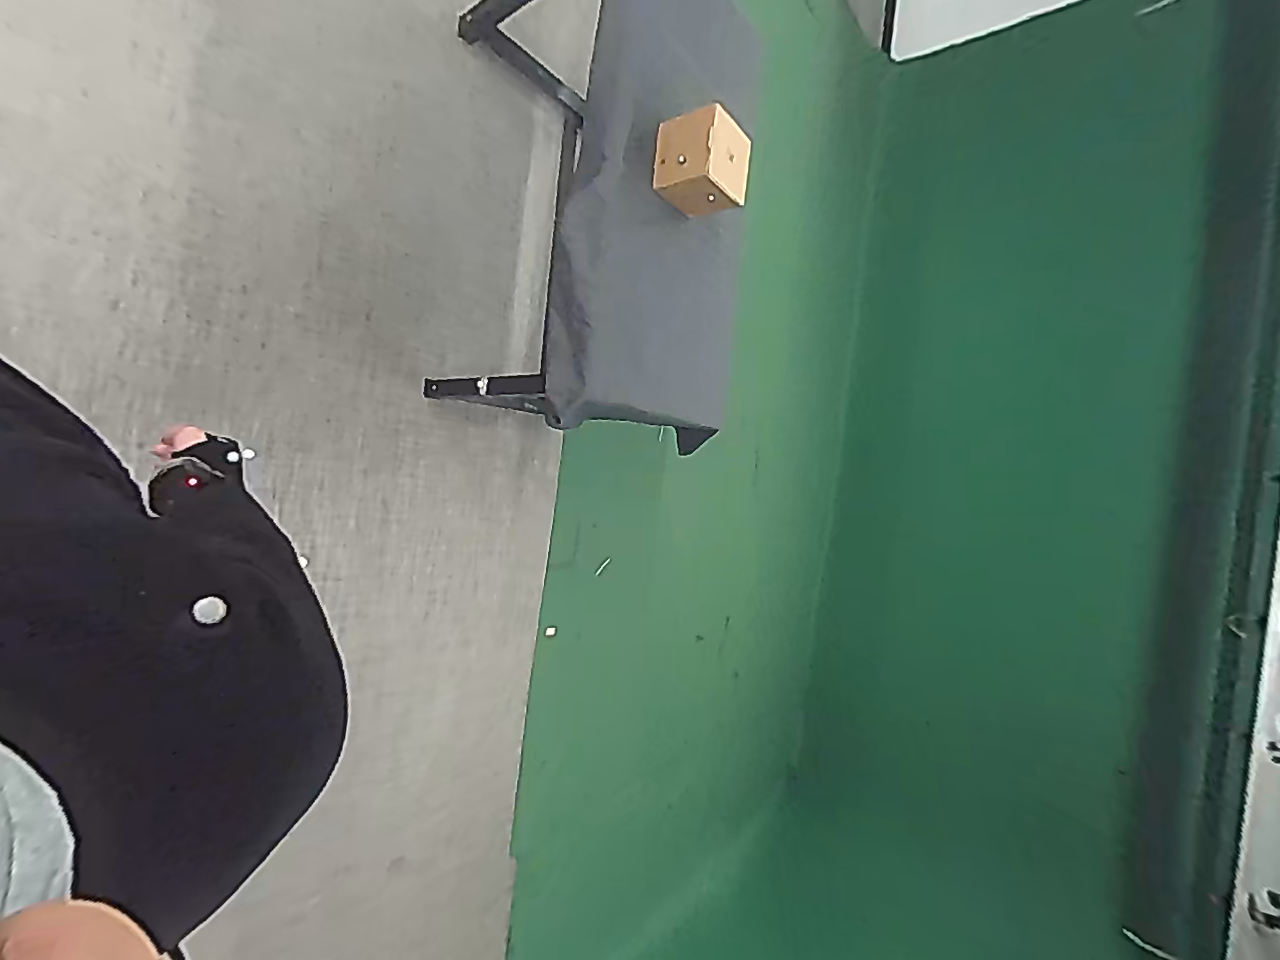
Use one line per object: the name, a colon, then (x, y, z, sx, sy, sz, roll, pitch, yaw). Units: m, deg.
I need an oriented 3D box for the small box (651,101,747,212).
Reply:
small box: (0.146, -0.798, 1.357, 0.179, 0.176, 0.168, 4, 95, -53)
